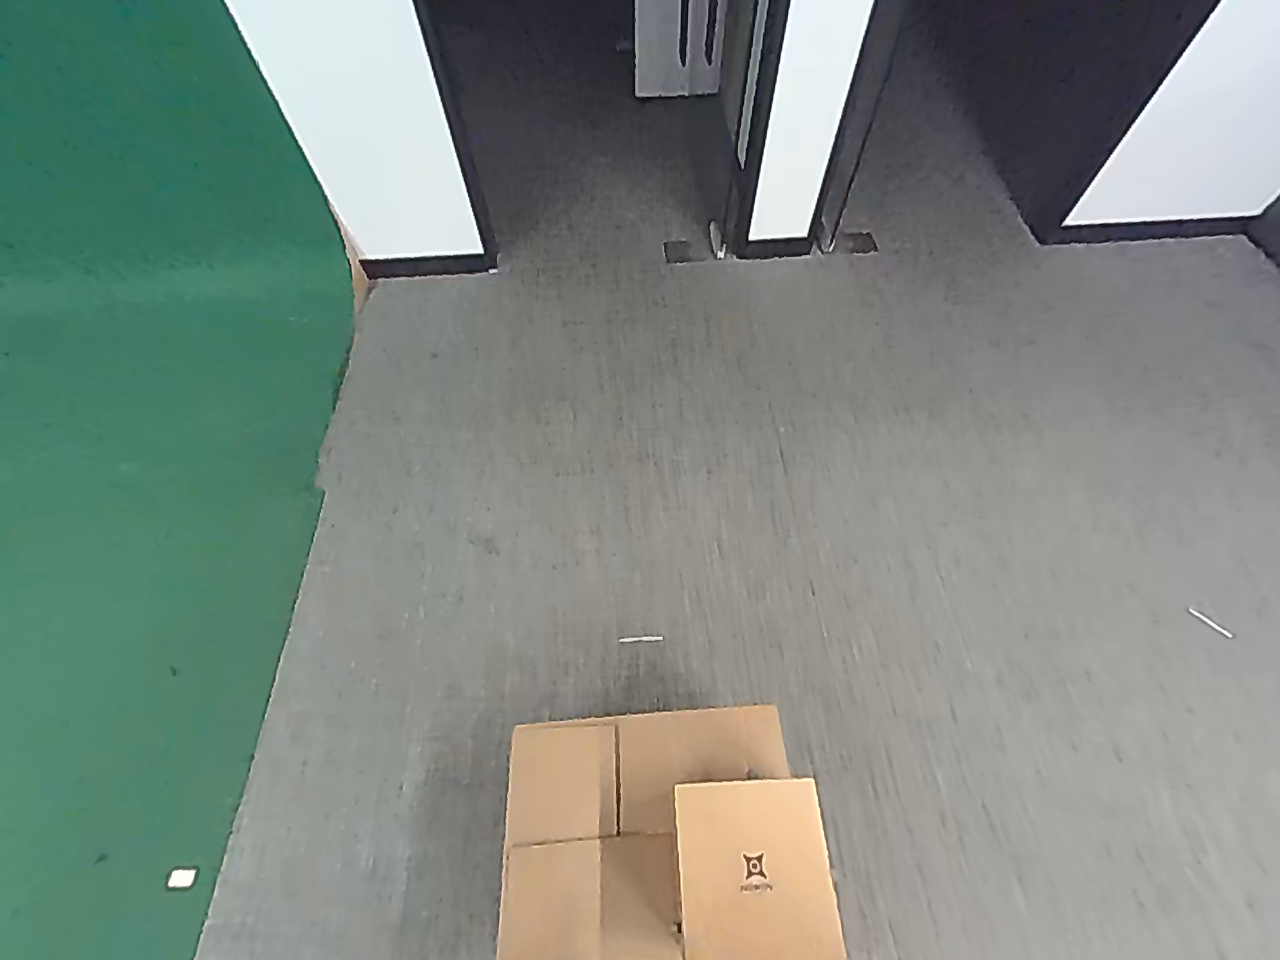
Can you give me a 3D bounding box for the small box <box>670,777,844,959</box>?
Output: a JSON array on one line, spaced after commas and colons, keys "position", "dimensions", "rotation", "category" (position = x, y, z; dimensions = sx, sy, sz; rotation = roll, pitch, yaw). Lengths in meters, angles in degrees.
[{"position": [0.125, 0.465, 0.654], "dimensions": [0.168, 0.176, 0.179], "rotation": [-2, 60, 0], "category": "small box"}]
